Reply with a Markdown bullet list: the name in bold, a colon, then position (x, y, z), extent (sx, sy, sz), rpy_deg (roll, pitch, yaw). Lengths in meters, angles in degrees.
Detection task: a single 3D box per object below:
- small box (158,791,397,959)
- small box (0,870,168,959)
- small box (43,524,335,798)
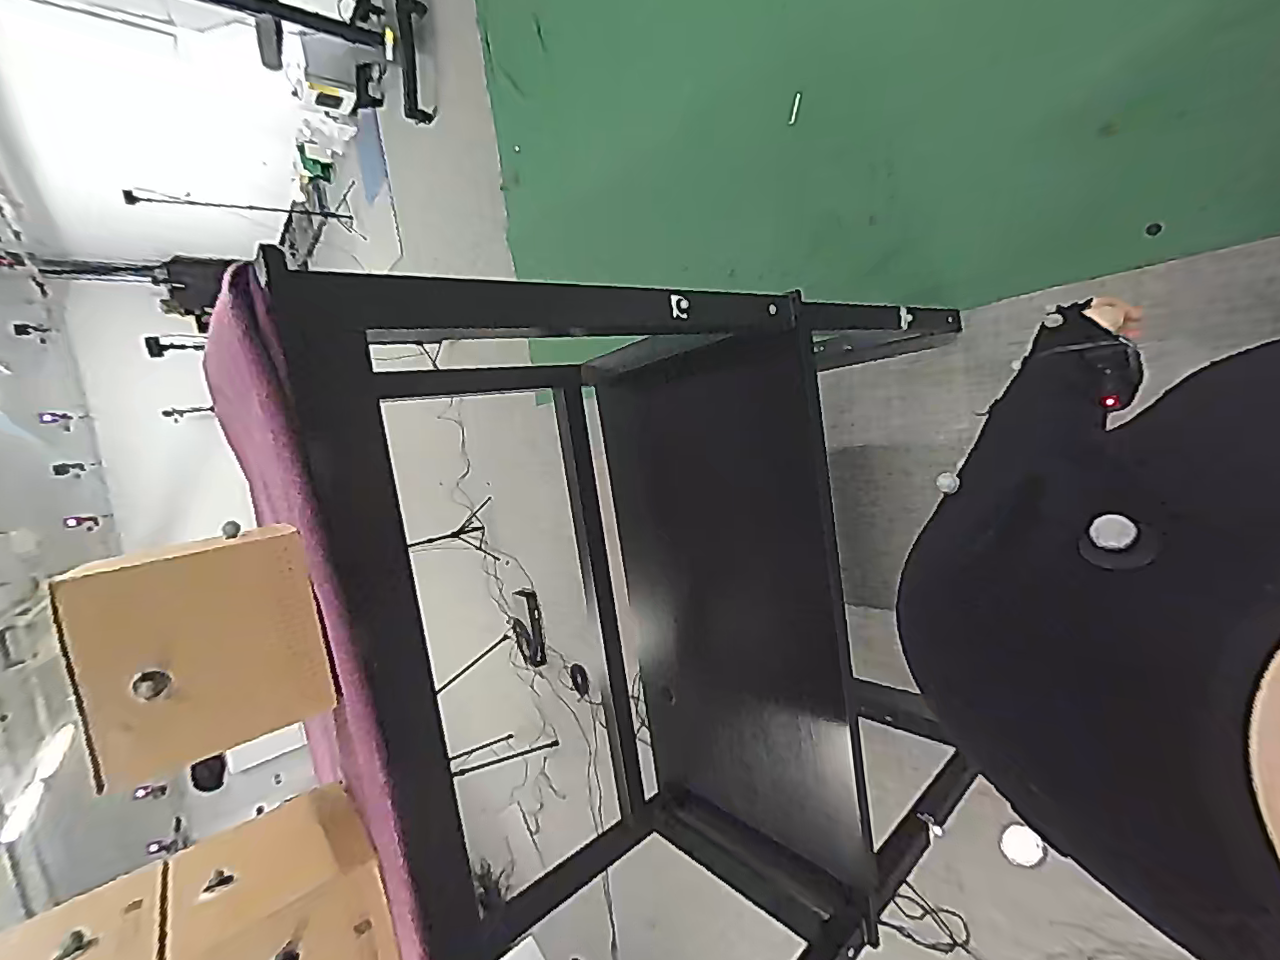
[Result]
- **small box**: position (-0.353, 0.456, 0.544), extent (0.179, 0.176, 0.168), rpy_deg (0, 99, 51)
- **small box**: position (-0.480, 0.484, 0.441), extent (0.168, 0.176, 0.179), rpy_deg (1, 100, 50)
- **small box**: position (-0.410, 0.149, 0.520), extent (0.168, 0.176, 0.179), rpy_deg (-3, 98, 53)
